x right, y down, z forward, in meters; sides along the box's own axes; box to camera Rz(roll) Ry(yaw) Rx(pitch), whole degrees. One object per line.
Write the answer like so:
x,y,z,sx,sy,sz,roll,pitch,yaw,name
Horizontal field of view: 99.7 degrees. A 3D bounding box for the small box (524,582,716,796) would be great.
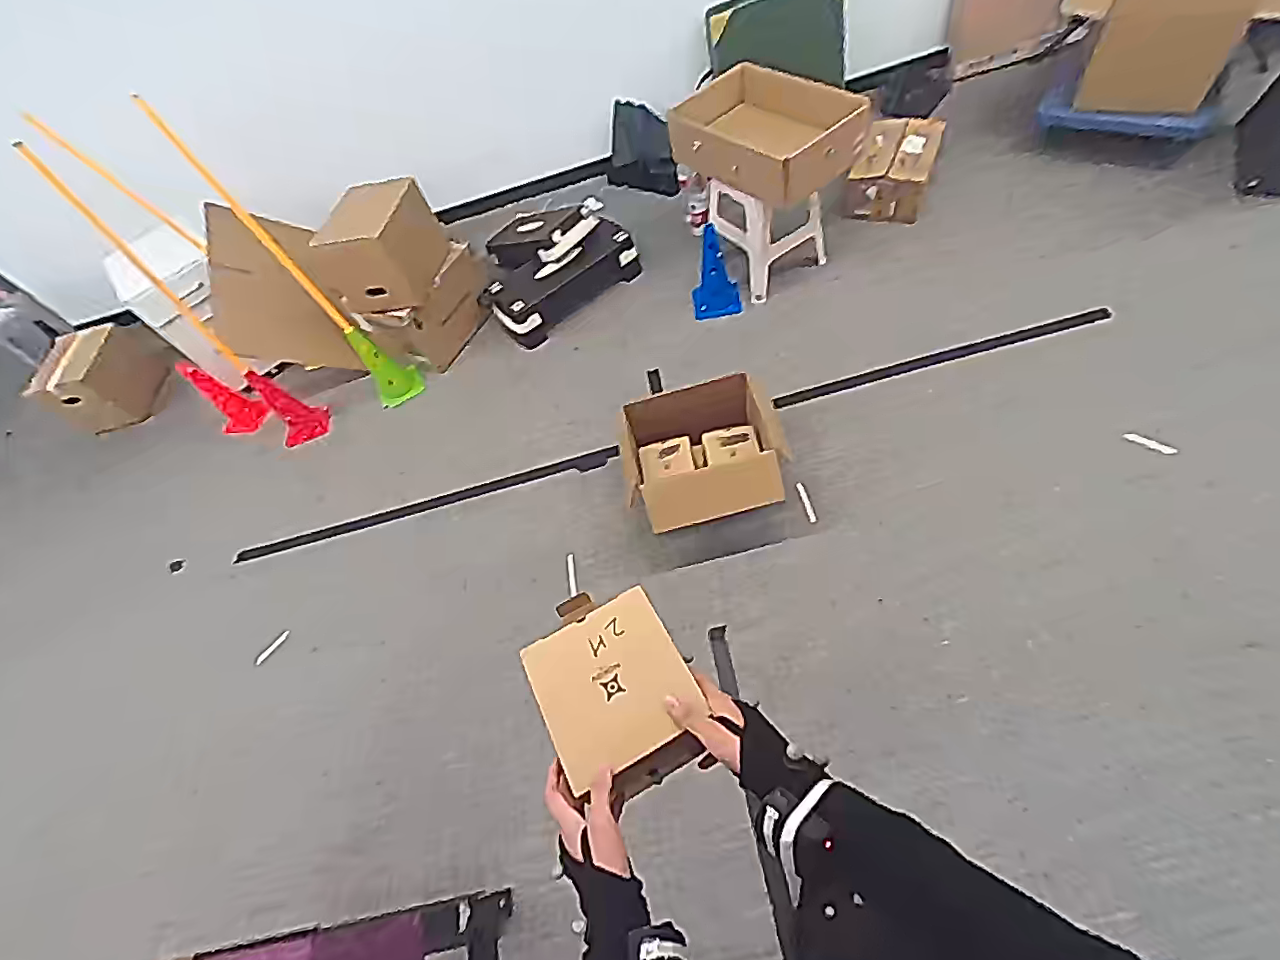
-0.017,0.263,0.665,0.168,0.176,0.179,-26,53,-9,small box
